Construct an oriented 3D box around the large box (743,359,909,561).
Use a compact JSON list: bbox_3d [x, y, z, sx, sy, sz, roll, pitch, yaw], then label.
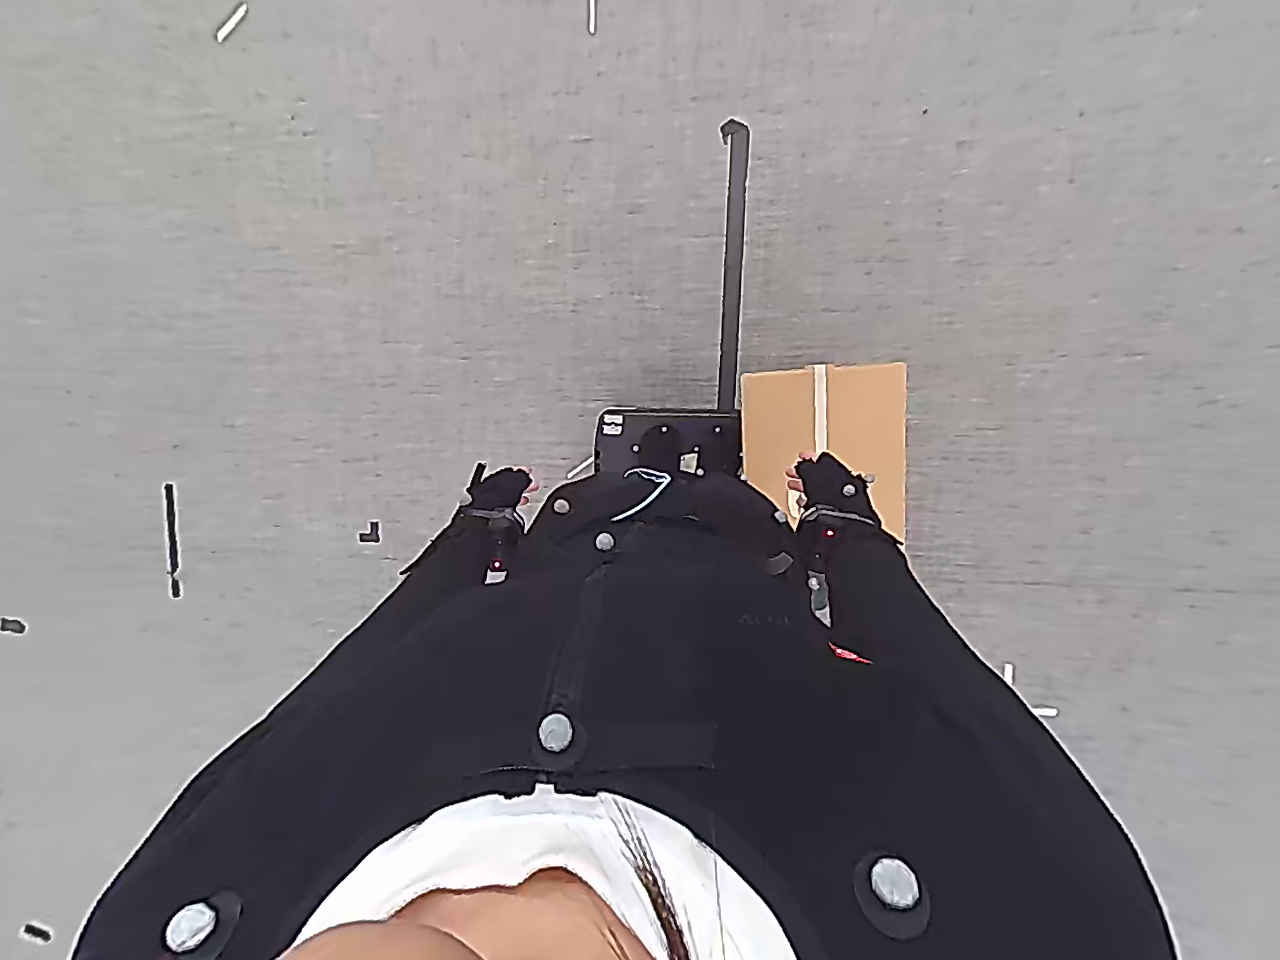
[{"bbox_3d":[0.407,-0.054,1.235,0.320,0.320,0.408,-1,99,14],"label":"large box"}]
